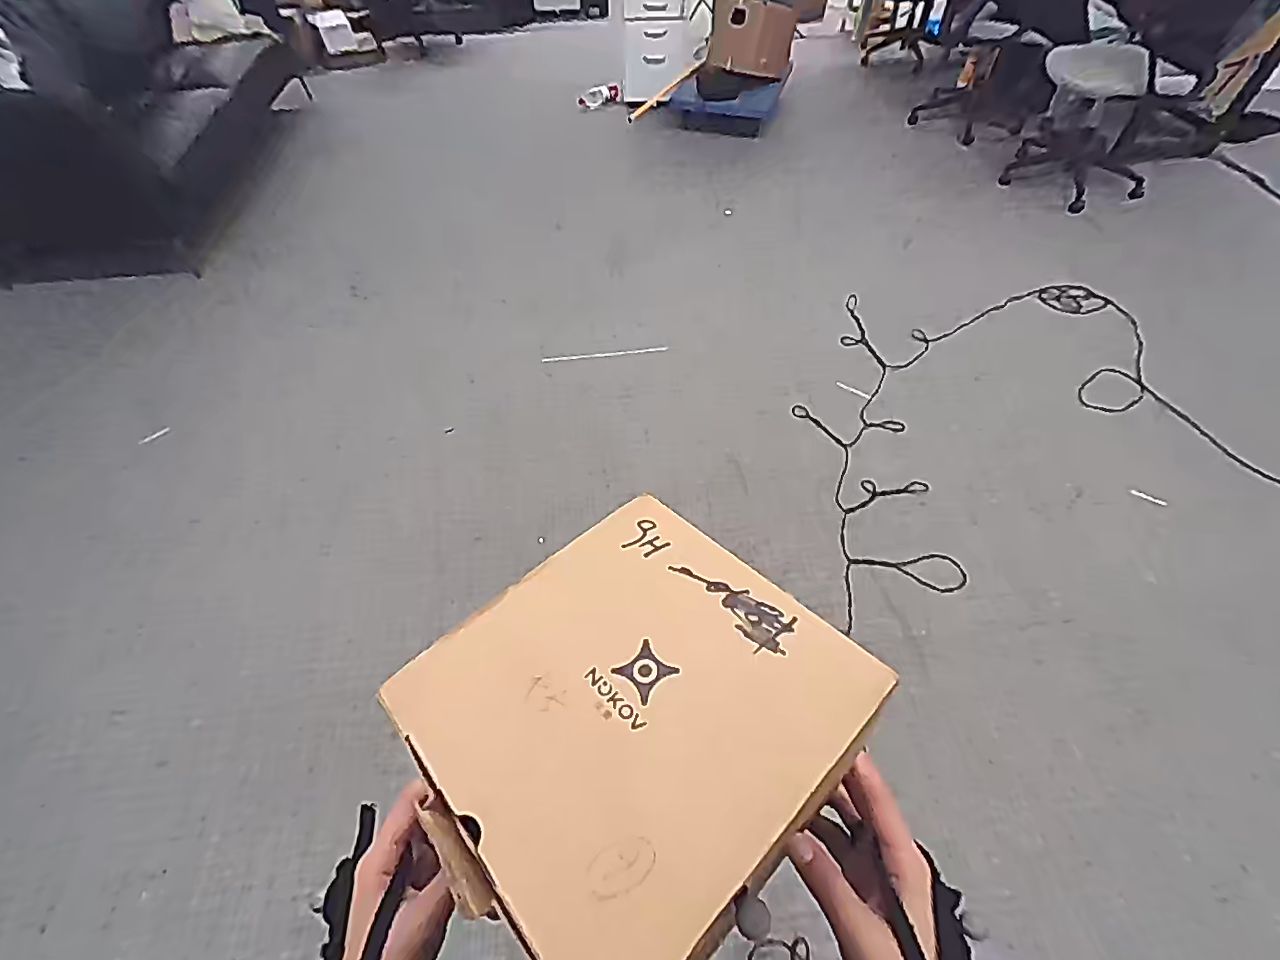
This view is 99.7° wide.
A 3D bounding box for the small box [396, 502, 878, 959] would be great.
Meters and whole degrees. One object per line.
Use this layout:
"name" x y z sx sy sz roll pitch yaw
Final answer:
"small box" 0.003 0.153 0.312 0.179 0.176 0.168 -36 52 -26
